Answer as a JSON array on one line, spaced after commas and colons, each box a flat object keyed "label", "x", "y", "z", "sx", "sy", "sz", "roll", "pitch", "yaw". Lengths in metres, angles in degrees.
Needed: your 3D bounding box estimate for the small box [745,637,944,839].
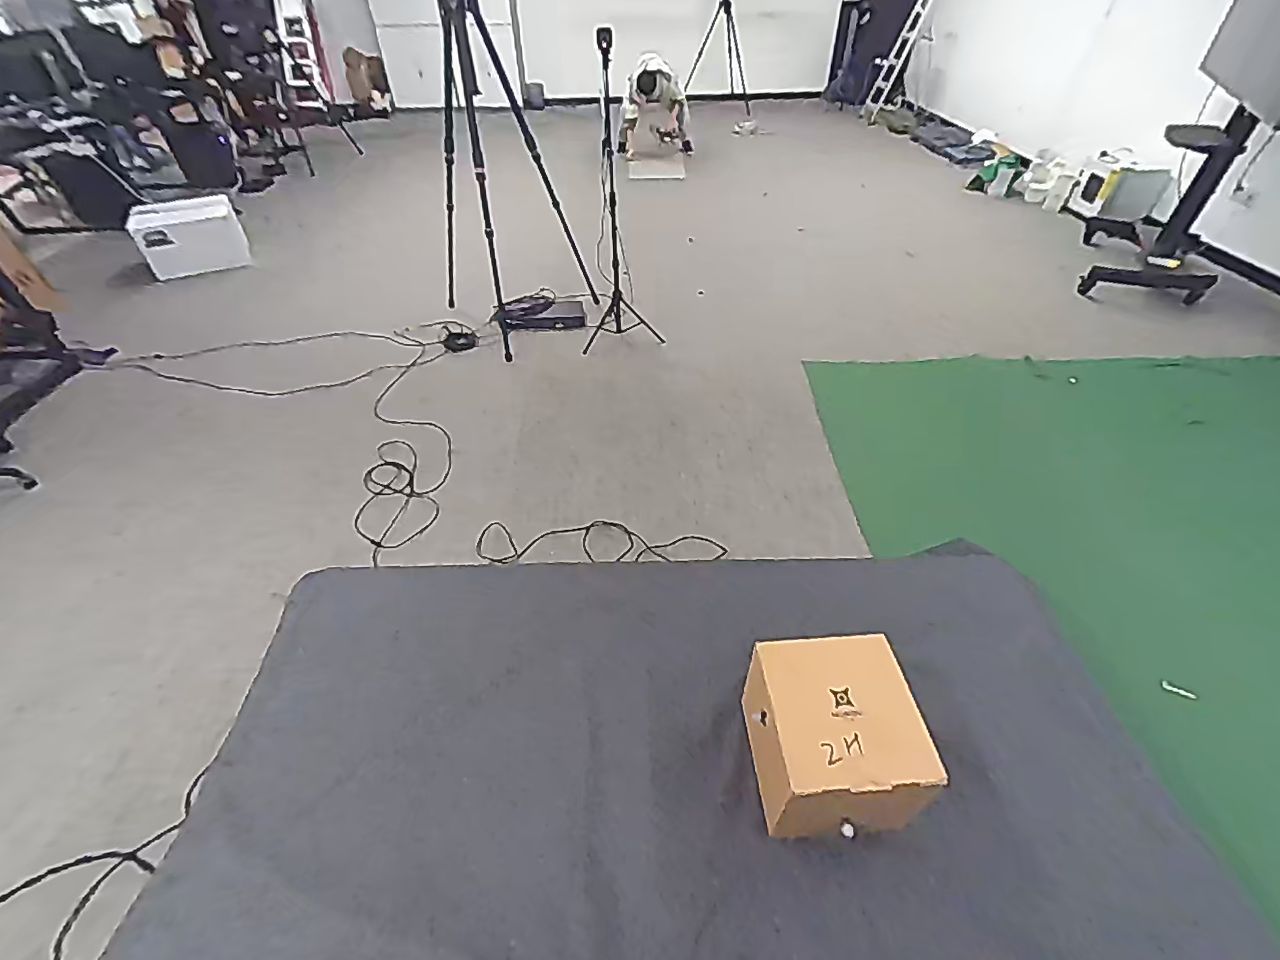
[{"label": "small box", "x": 0.234, "y": 0.321, "z": 0.676, "sx": 0.168, "sy": 0.176, "sz": 0.179, "roll": -4, "pitch": 43, "yaw": -1}]
